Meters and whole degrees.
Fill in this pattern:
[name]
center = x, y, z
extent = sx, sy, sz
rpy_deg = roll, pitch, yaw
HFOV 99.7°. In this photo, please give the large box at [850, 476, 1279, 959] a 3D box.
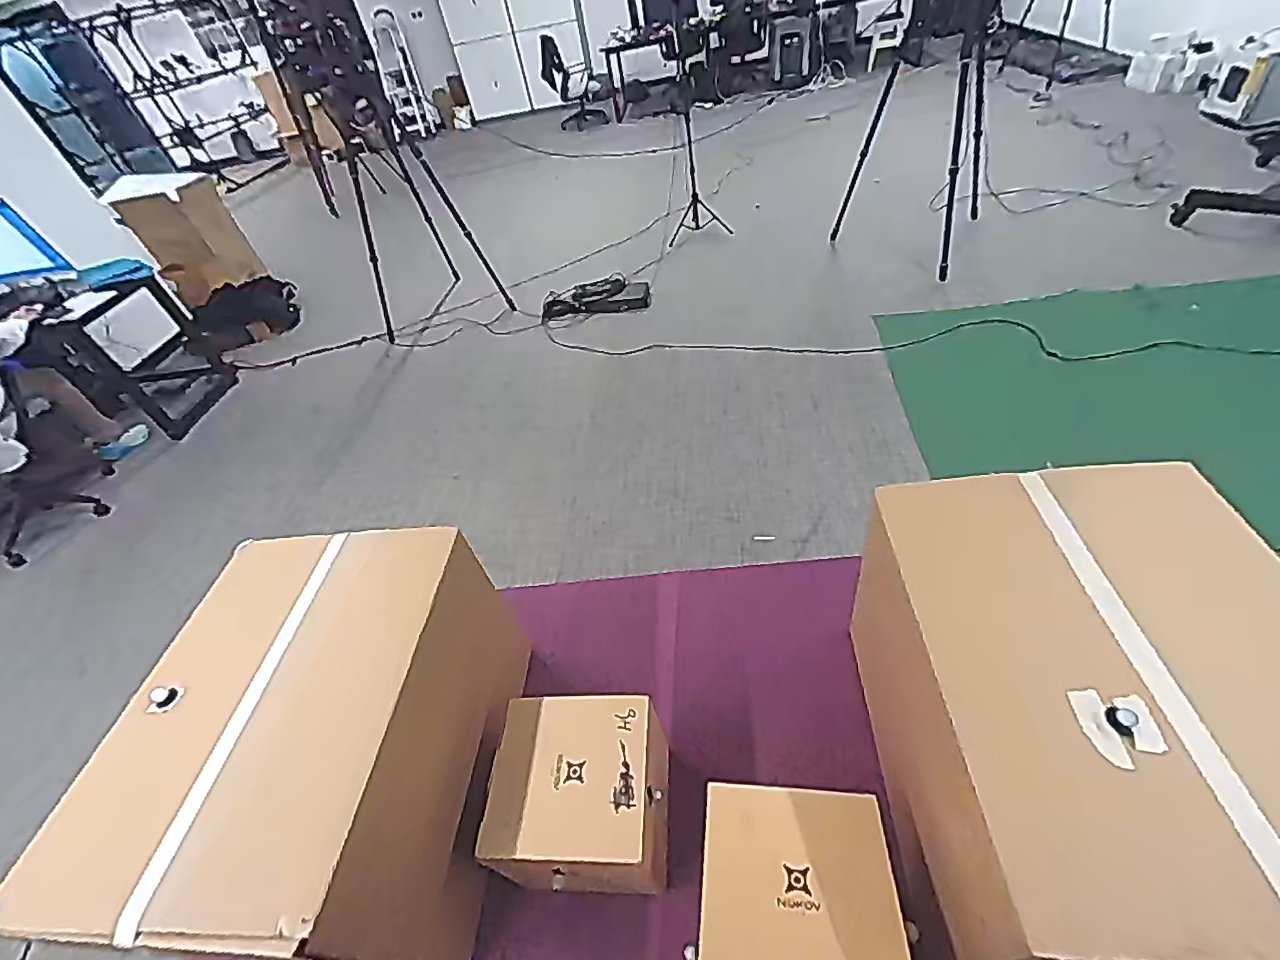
[large box]
center = 0.434, 0.248, 0.559
extent = 0.320, 0.320, 0.408
rpy_deg = -4, 45, 10
